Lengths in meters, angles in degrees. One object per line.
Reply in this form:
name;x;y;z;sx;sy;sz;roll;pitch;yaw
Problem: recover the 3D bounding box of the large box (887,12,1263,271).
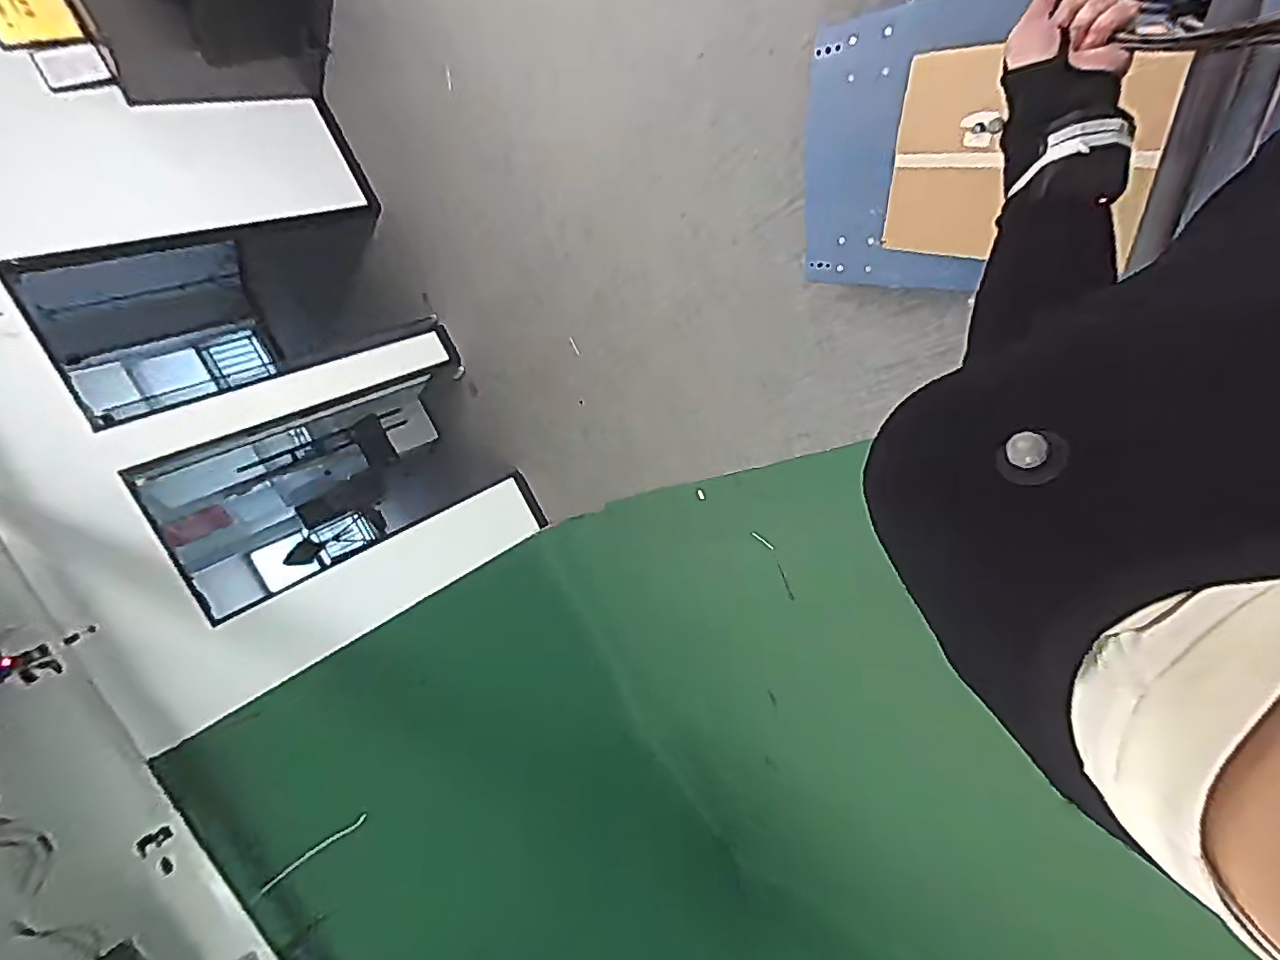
large box;0.723;-0.582;0.950;0.408;0.320;0.320;28;136;39
